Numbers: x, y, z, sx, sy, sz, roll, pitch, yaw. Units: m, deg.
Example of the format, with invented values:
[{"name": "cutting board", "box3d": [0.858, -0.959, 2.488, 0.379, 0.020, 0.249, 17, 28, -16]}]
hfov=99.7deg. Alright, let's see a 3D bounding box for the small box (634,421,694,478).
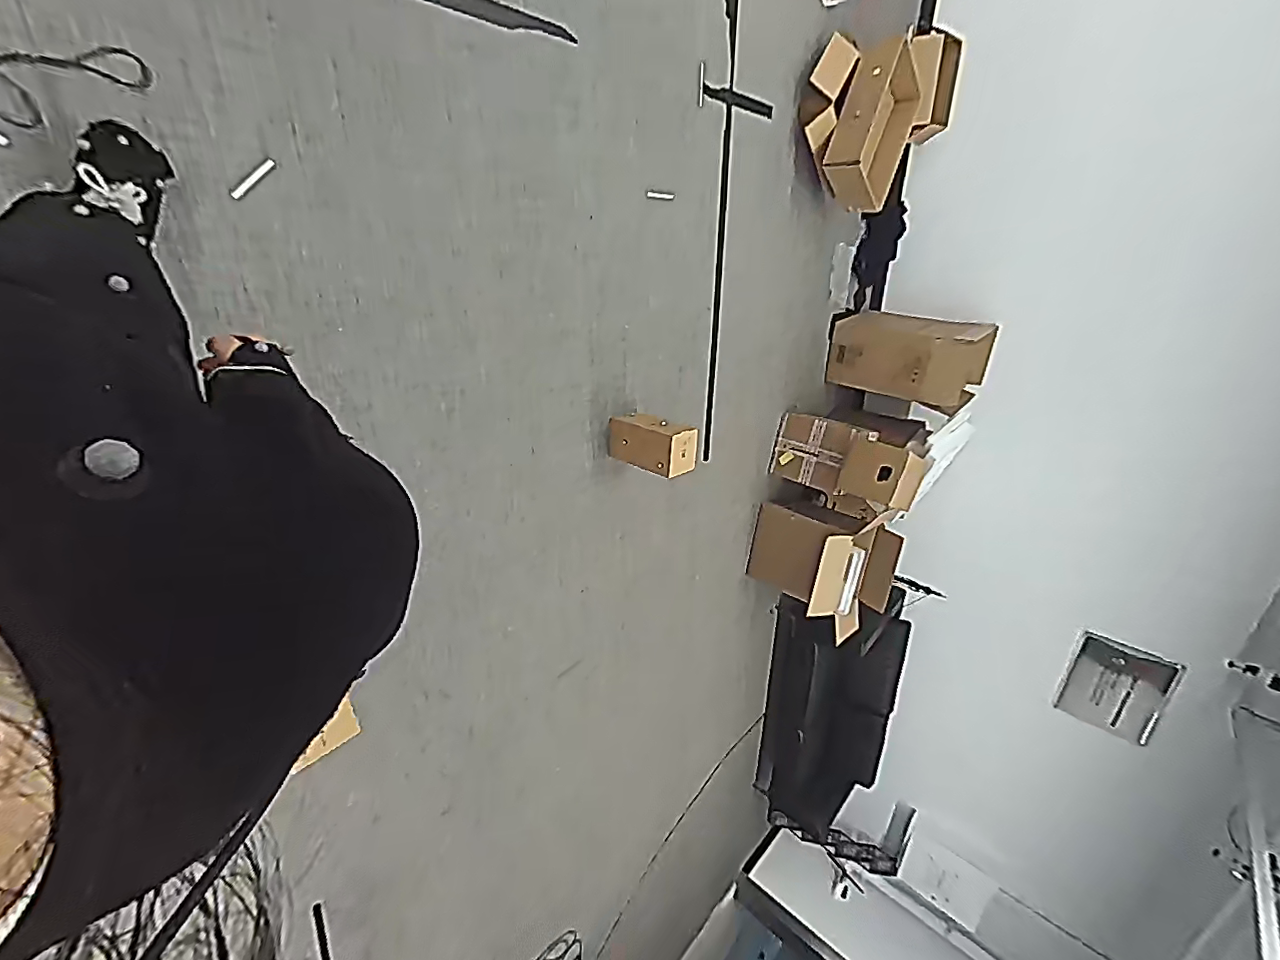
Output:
[{"name": "small box", "box3d": [0.092, -0.126, 2.153, 0.168, 0.176, 0.179, -20, 120, -45]}]
